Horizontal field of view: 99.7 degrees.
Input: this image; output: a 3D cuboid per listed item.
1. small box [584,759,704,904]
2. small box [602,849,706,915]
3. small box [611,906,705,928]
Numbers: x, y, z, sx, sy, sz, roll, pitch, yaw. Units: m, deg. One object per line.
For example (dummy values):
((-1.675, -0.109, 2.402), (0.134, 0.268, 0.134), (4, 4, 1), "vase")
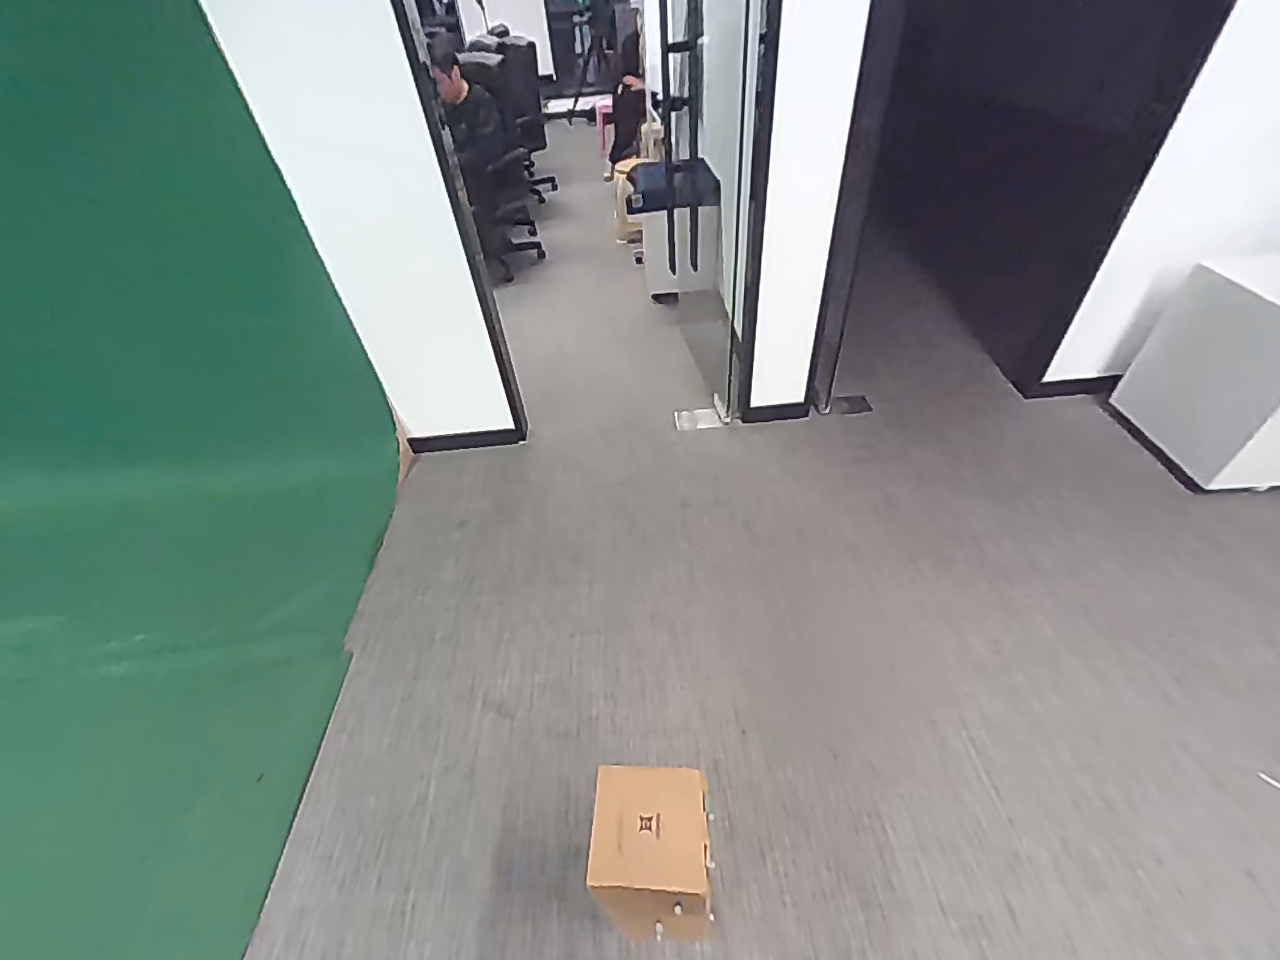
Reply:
((0.016, 0.578, 0.889), (0.179, 0.176, 0.168), (-2, 43, 6), "small box")
((0.030, 0.694, 1.005), (0.179, 0.176, 0.168), (-3, 45, 5), "small box")
((0.044, 0.808, 1.118), (0.179, 0.176, 0.168), (-2, 44, 6), "small box")
